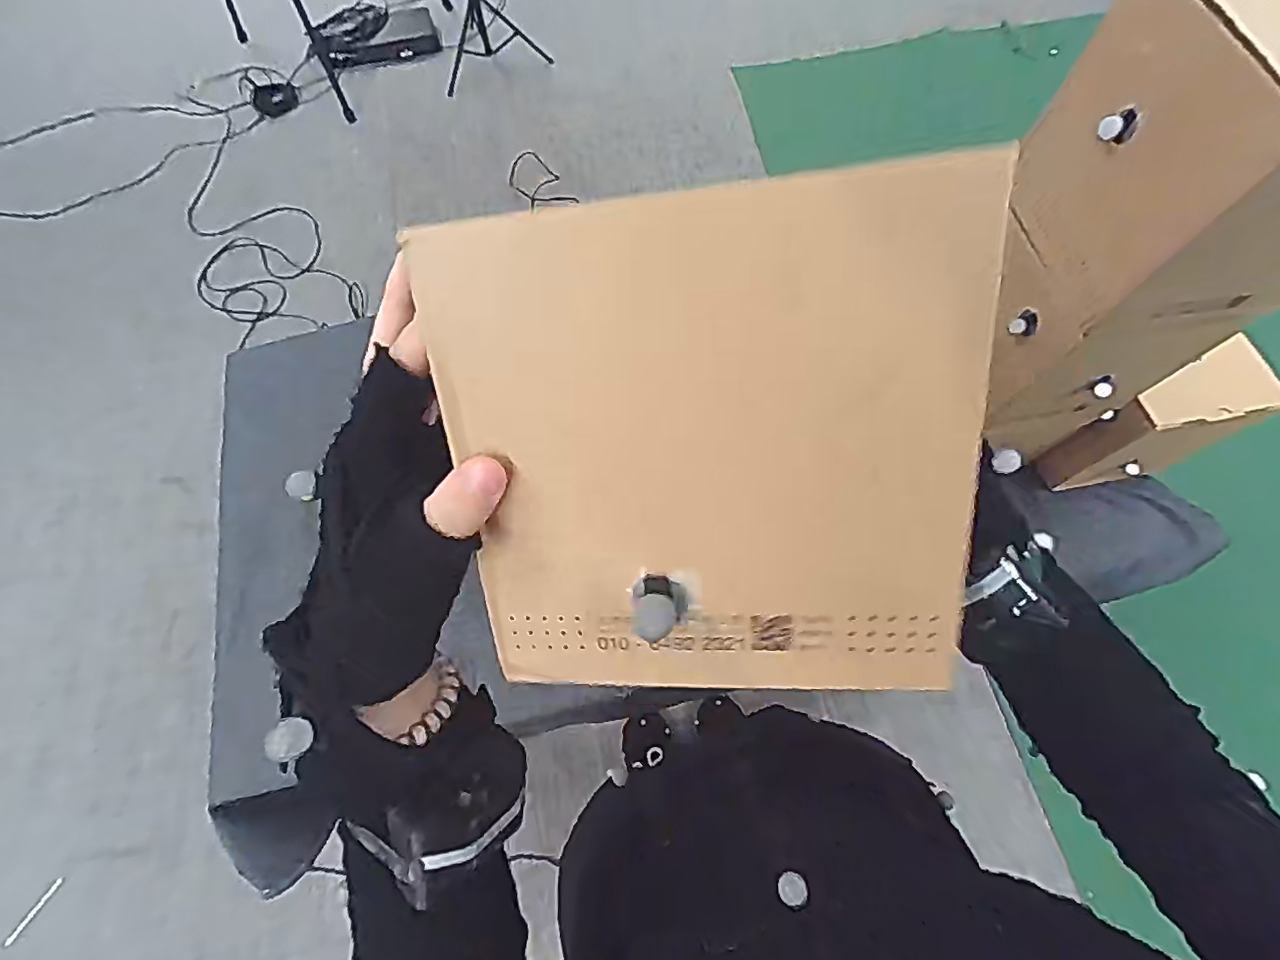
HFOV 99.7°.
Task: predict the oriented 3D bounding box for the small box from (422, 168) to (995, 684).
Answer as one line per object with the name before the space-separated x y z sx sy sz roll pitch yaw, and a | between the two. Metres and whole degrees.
small box | 0.030 -0.033 0.257 0.168 0.179 0.176 -2 113 10

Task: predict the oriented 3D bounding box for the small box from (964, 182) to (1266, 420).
small box | 0.416 -0.173 0.536 0.168 0.176 0.179 -10 68 -2

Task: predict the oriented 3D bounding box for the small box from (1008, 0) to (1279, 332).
small box | 0.411 -0.234 0.384 0.168 0.176 0.179 -8 67 -1
